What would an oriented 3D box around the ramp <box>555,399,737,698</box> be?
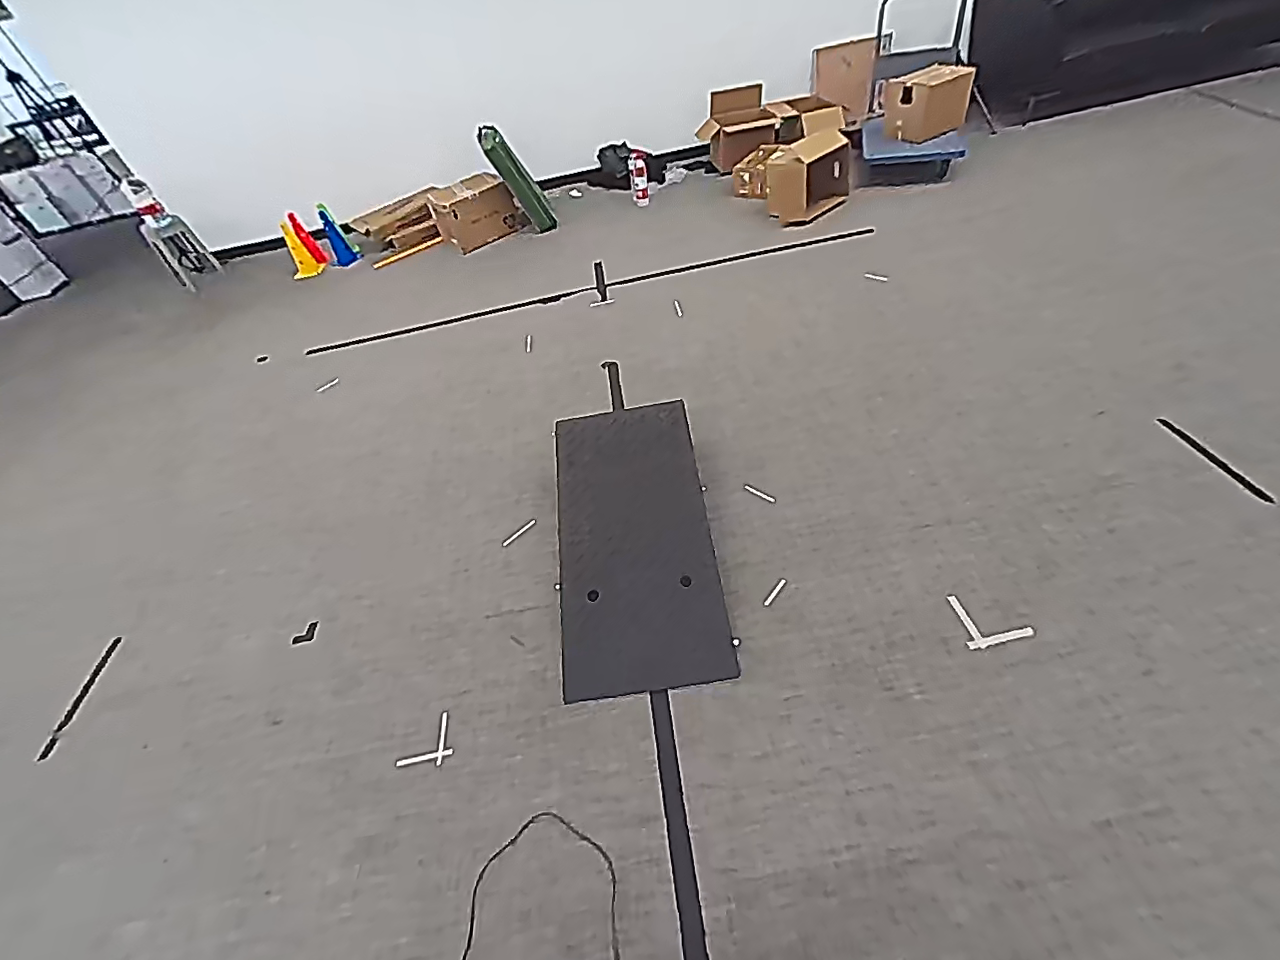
[{"bbox_3d":[-0.025,0.153,1.752,0.509,0.206,0.991,-10,46,1],"label":"ramp"}]
